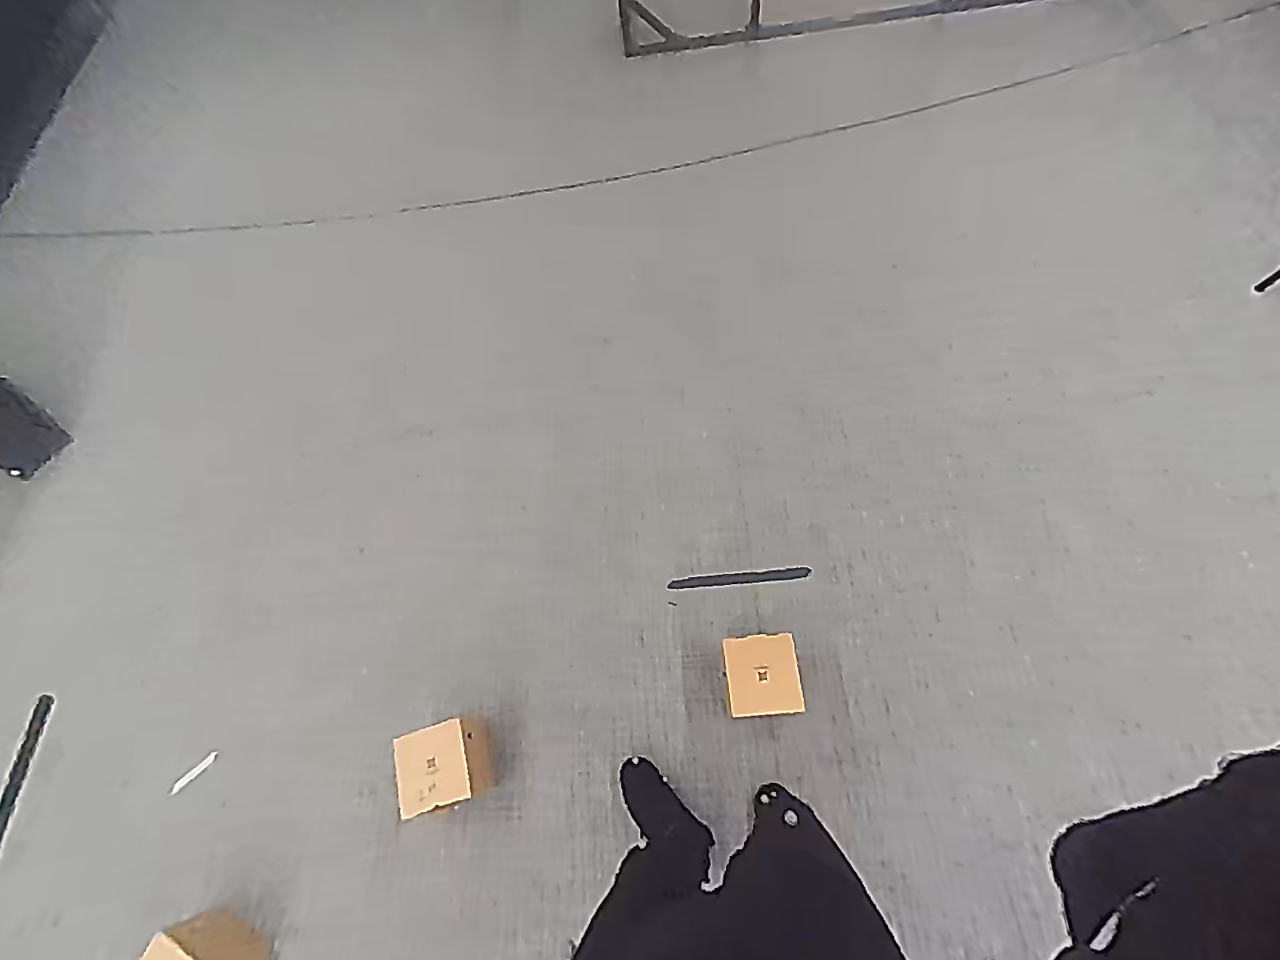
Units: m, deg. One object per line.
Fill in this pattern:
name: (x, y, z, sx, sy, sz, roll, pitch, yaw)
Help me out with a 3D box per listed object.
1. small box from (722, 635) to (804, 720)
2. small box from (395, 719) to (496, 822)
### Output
small box: (0.292, 0.483, 1.316, 0.168, 0.176, 0.179, -7, 65, 4)
small box: (-0.466, 0.693, 1.307, 0.168, 0.176, 0.179, -18, 66, -2)
